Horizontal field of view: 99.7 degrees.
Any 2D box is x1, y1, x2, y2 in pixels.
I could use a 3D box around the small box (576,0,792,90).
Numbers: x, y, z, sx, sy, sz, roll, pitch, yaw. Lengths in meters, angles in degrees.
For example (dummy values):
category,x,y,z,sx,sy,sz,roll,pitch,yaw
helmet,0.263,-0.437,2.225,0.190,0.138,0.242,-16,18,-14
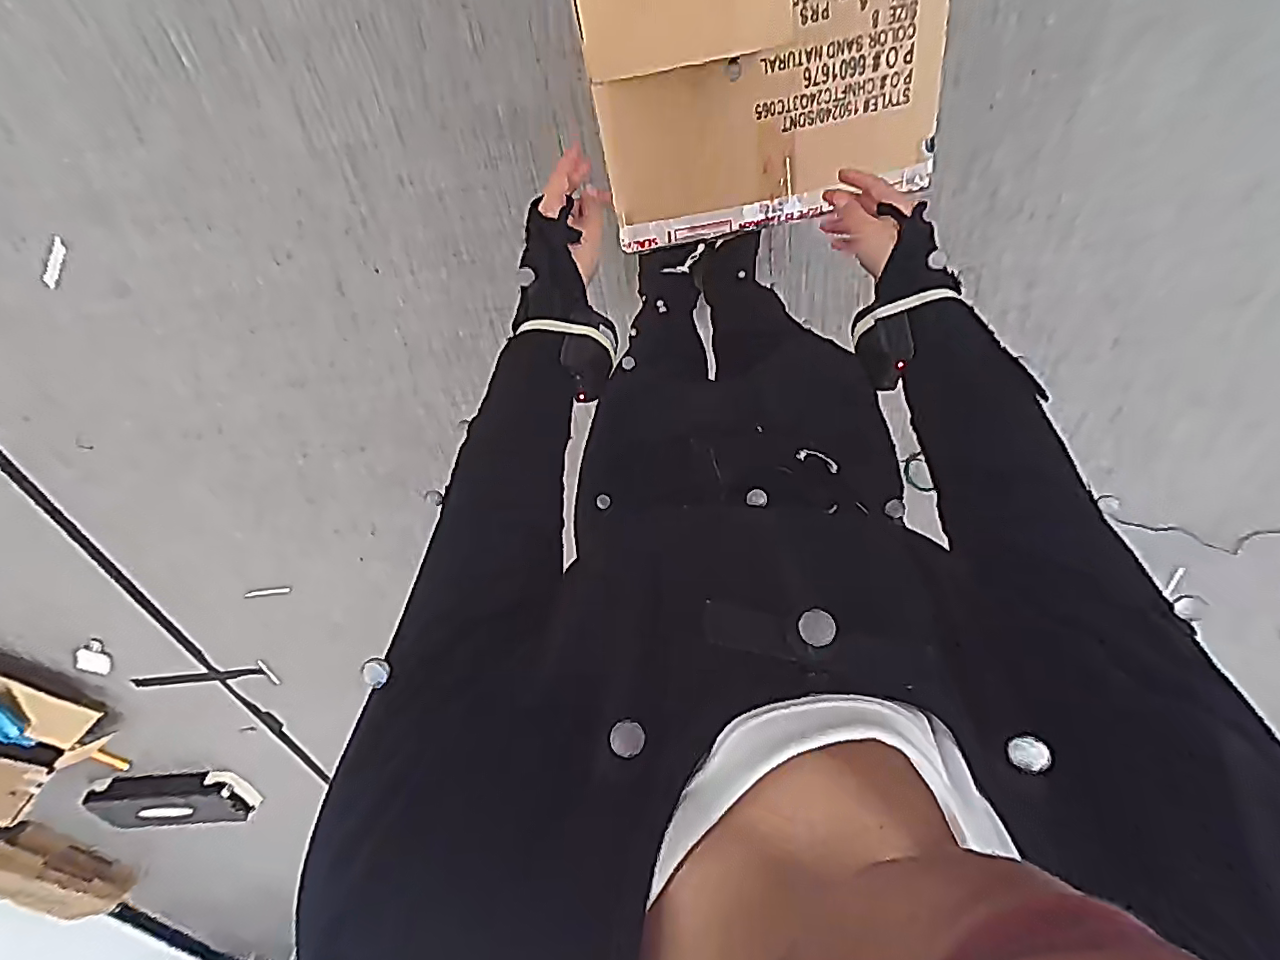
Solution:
category,x,y,z,sx,sy,sz,roll,pitch,yaw
small box,0.032,-0.465,0.481,0.179,0.176,0.168,-6,126,7
